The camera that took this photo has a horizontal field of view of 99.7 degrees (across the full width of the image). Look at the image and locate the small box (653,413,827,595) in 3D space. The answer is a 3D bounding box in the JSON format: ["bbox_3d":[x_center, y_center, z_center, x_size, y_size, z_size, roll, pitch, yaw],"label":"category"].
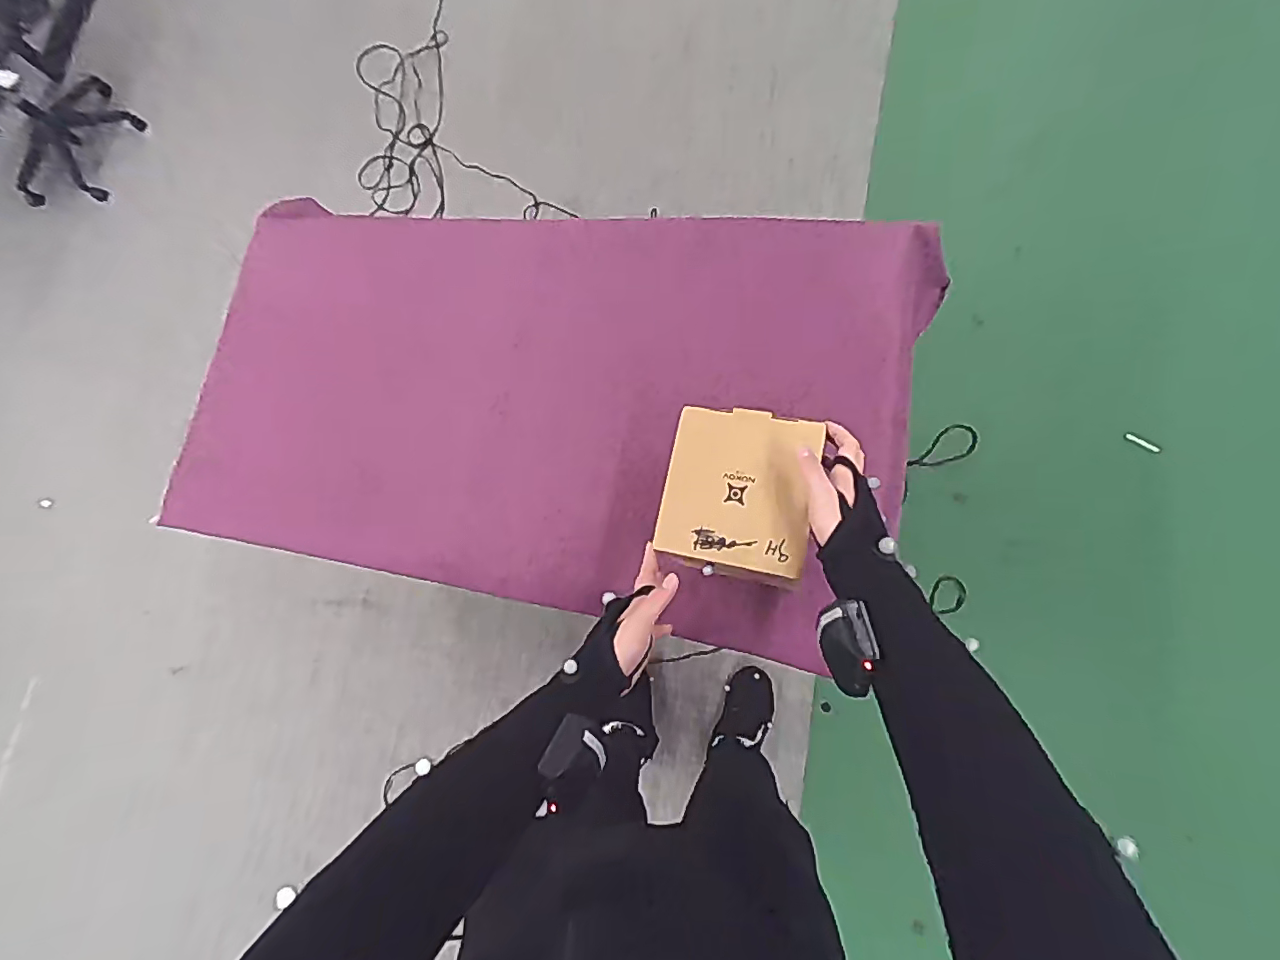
[{"bbox_3d":[0.130,0.036,0.675,0.168,0.176,0.179,10,78,19],"label":"small box"}]
